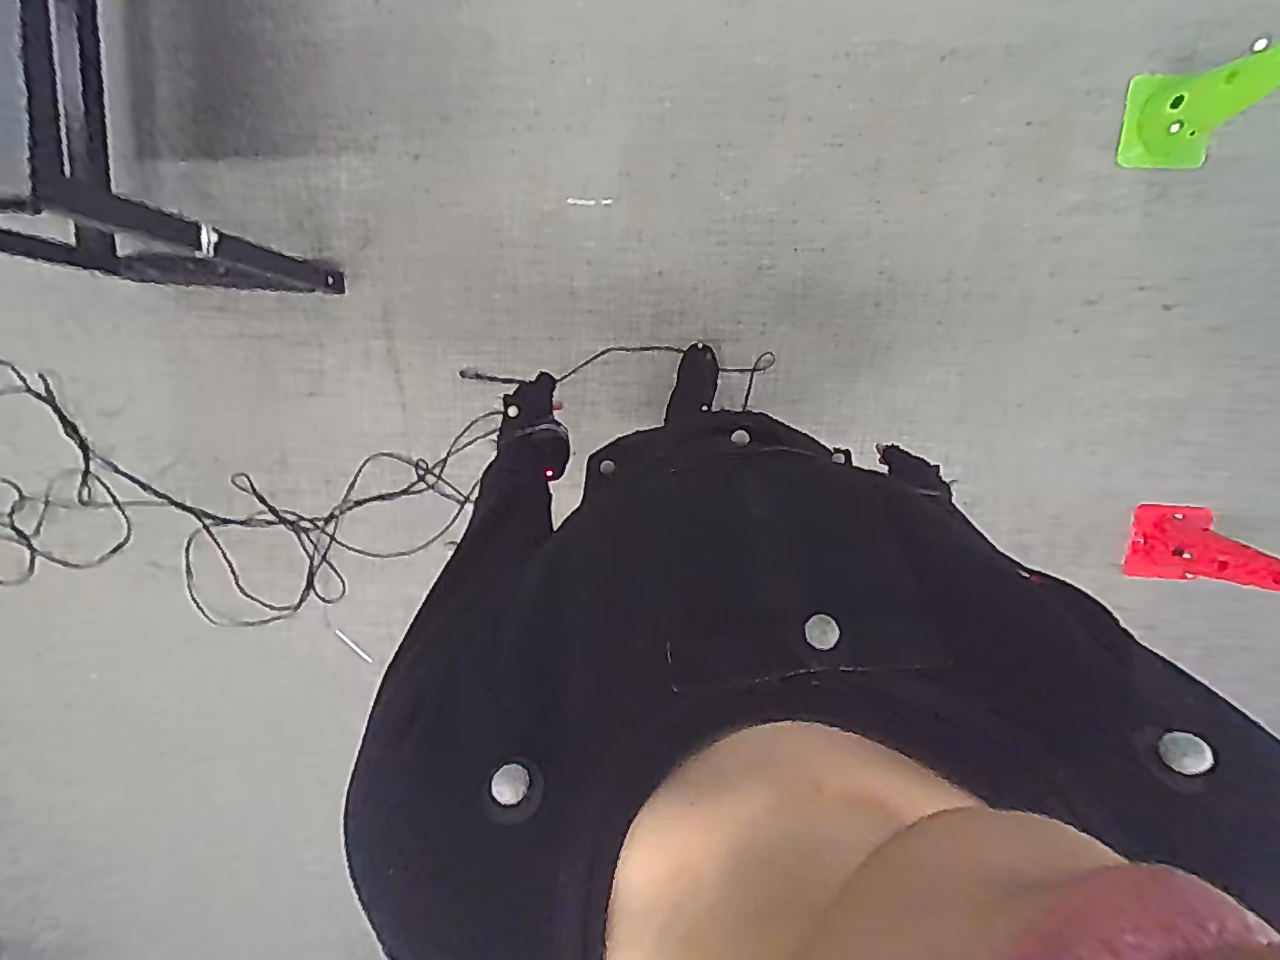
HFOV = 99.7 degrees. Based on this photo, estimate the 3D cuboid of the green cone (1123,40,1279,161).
[{"bbox_3d":[1.227,-0.819,1.082,0.200,0.368,0.202,1,100,2],"label":"green cone"}]
